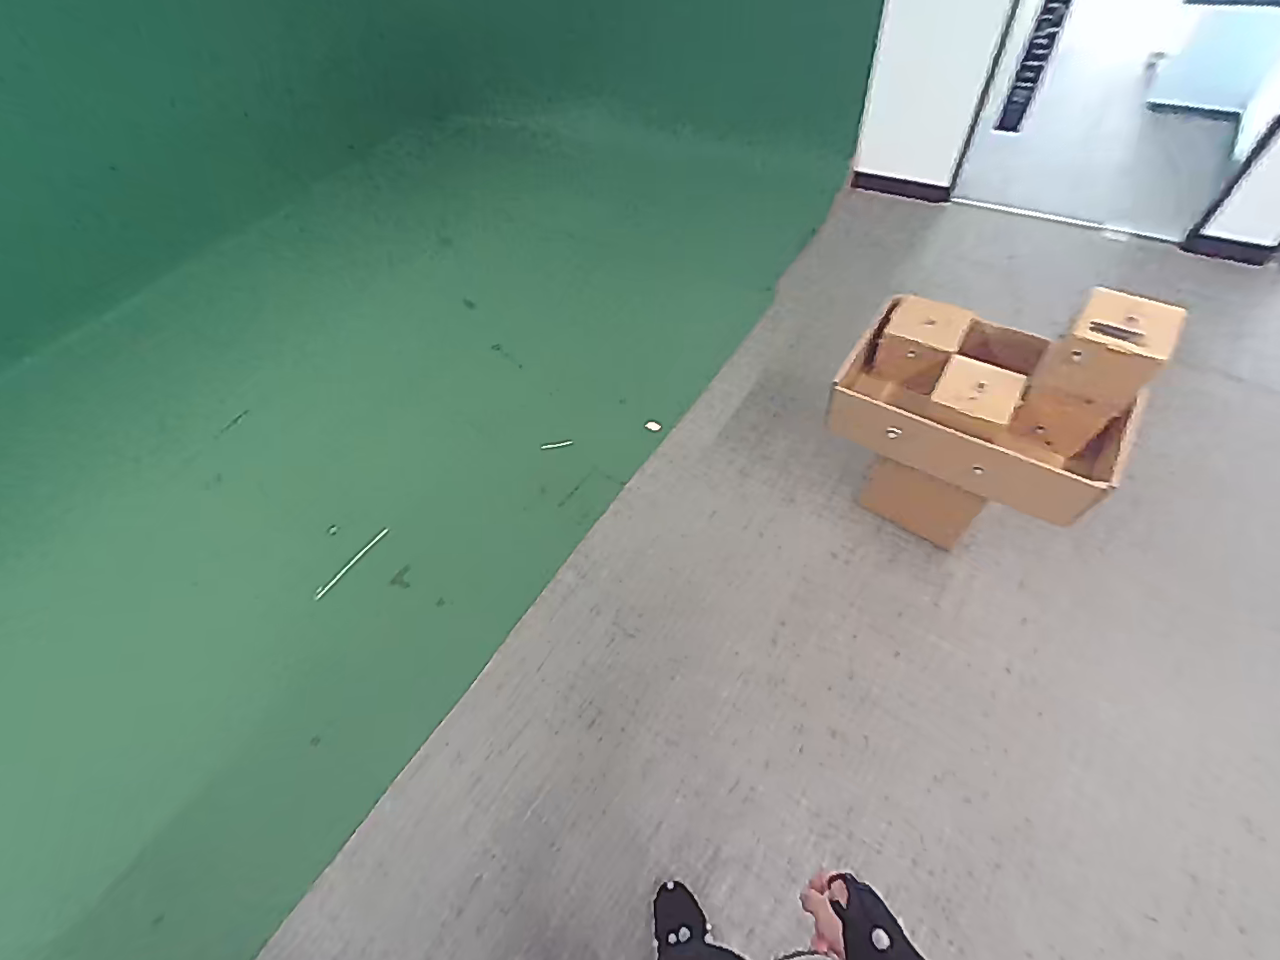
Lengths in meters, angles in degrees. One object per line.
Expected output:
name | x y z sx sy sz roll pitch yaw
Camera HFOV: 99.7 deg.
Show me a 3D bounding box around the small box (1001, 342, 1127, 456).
small box | 1.017 -0.194 1.310 0.168 0.176 0.179 29 65 24
